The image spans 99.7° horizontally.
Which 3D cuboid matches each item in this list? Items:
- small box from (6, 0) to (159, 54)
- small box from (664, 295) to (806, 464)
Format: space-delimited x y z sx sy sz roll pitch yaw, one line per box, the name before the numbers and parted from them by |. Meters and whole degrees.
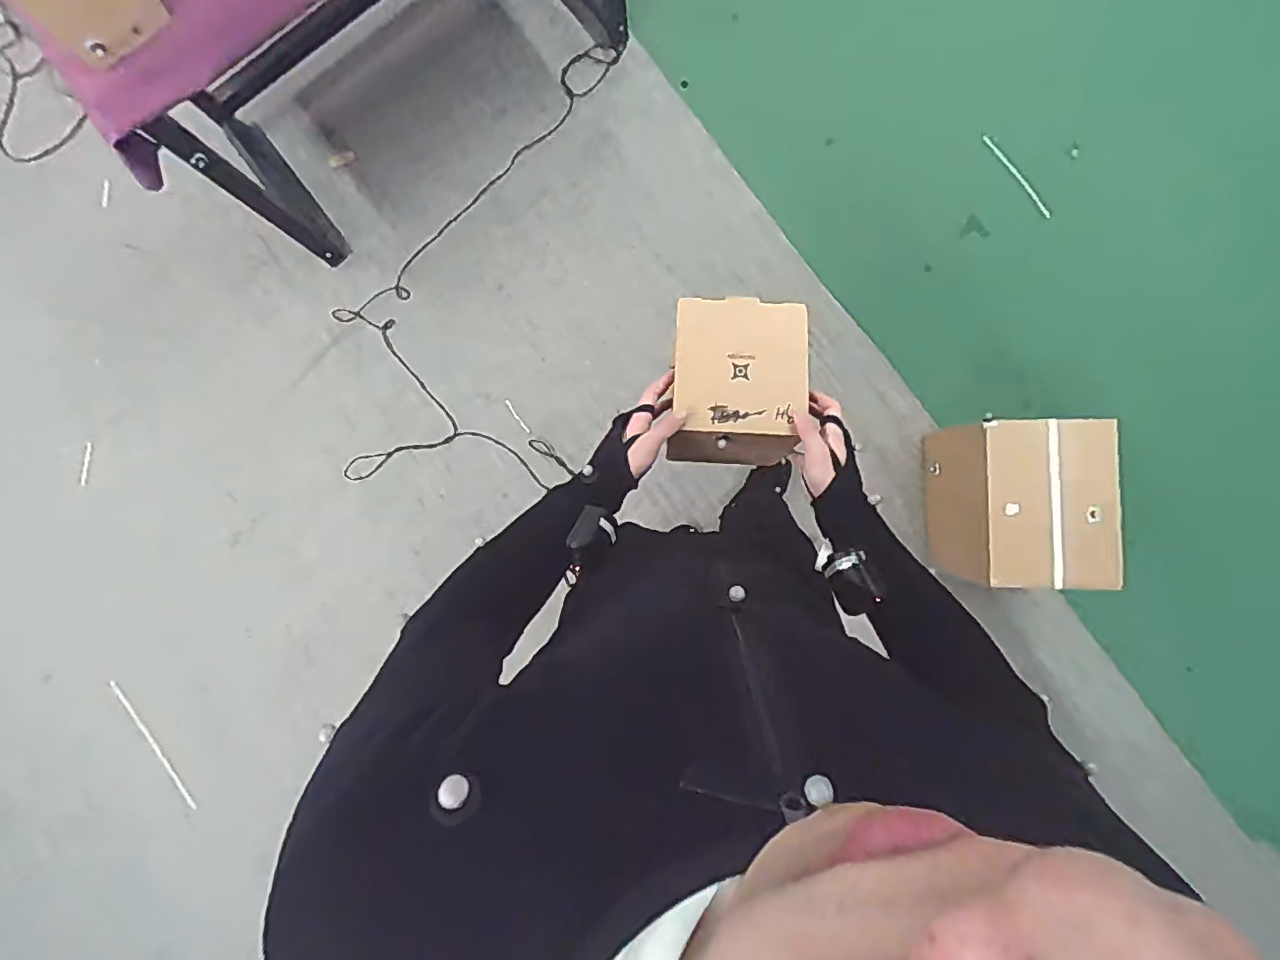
small box | -0.969 -0.862 0.896 0.168 0.176 0.179 -34 85 0
small box | 0.121 -0.128 0.742 0.168 0.176 0.179 3 80 0
